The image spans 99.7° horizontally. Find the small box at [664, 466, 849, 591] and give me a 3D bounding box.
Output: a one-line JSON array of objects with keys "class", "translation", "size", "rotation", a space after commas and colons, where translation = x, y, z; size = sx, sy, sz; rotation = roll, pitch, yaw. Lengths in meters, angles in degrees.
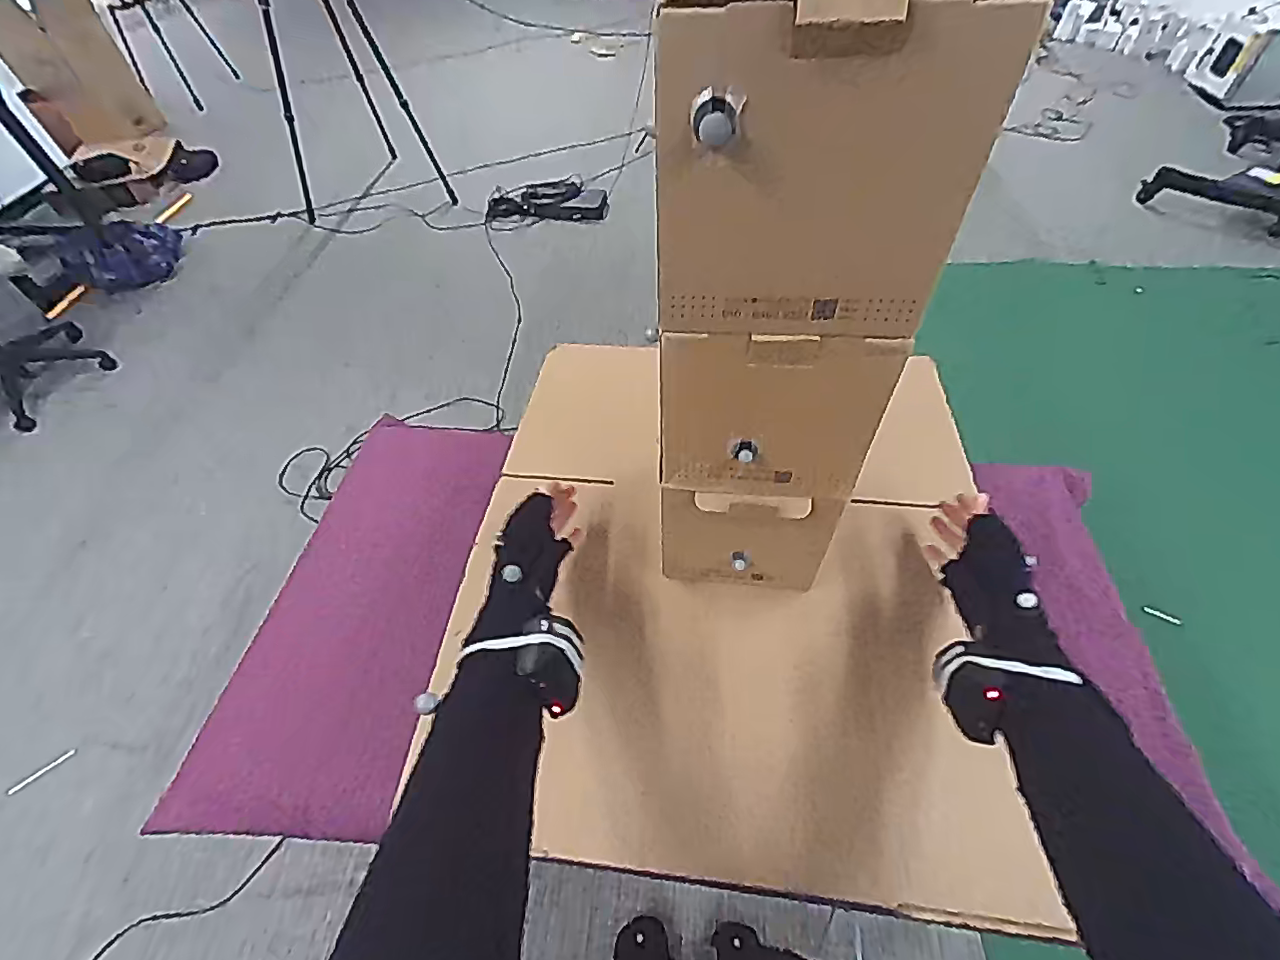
[{"class": "small box", "translation": [0.116, -0.002, 0.594], "size": [0.168, 0.176, 0.179], "rotation": [4, 51, 7]}]

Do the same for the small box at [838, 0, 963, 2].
[{"class": "small box", "translation": [0.099, -0.317, 0.217], "size": [0.168, 0.176, 0.179], "rotation": [0, 52, 2]}]

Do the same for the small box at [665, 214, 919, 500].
[{"class": "small box", "translation": [0.110, -0.106, 0.469], "size": [0.168, 0.176, 0.179], "rotation": [3, 51, 5]}]
